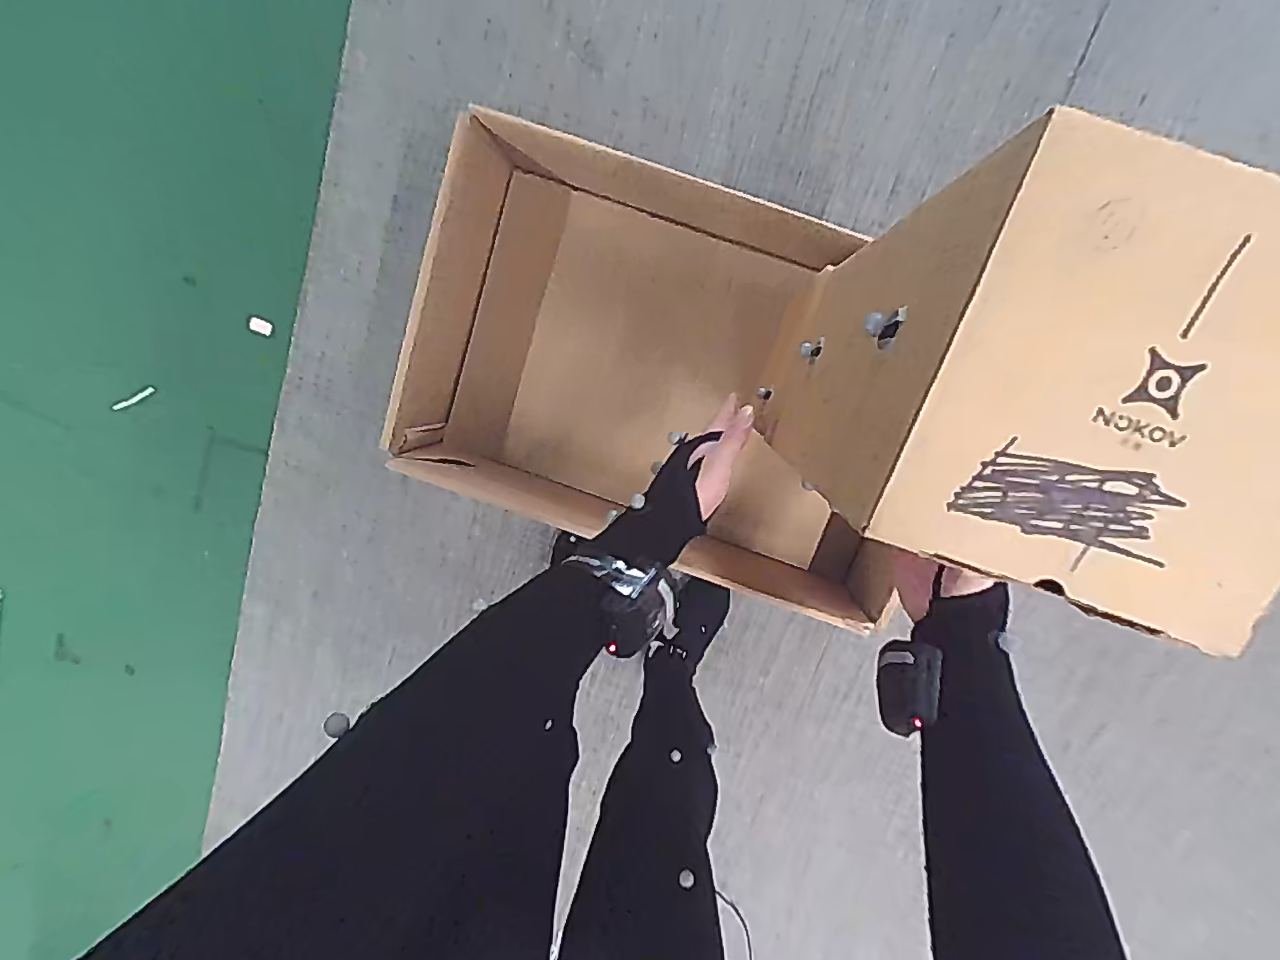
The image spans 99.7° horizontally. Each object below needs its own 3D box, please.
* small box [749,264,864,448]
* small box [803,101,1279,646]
[{"bbox_3d":[0.232,-0.116,0.612,0.168,0.176,0.179,20,102,1],"label":"small box"},{"bbox_3d":[0.203,-0.049,0.293,0.168,0.176,0.179,19,102,1],"label":"small box"}]
